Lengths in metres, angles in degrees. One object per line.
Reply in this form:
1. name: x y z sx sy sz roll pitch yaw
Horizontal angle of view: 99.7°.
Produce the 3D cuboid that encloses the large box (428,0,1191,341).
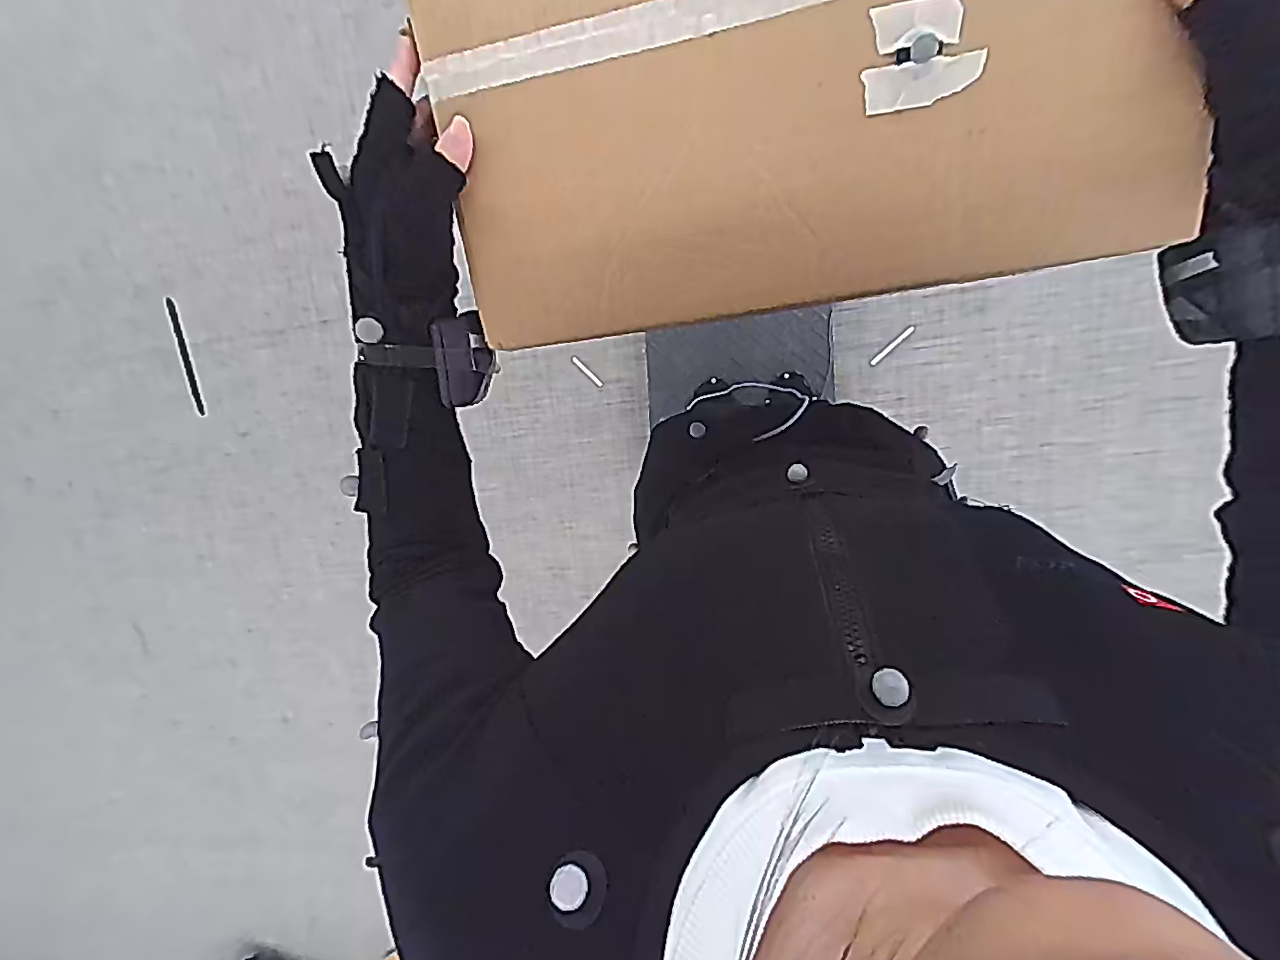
1. large box: 0.094 -0.305 0.436 0.408 0.320 0.320 -7 106 10
